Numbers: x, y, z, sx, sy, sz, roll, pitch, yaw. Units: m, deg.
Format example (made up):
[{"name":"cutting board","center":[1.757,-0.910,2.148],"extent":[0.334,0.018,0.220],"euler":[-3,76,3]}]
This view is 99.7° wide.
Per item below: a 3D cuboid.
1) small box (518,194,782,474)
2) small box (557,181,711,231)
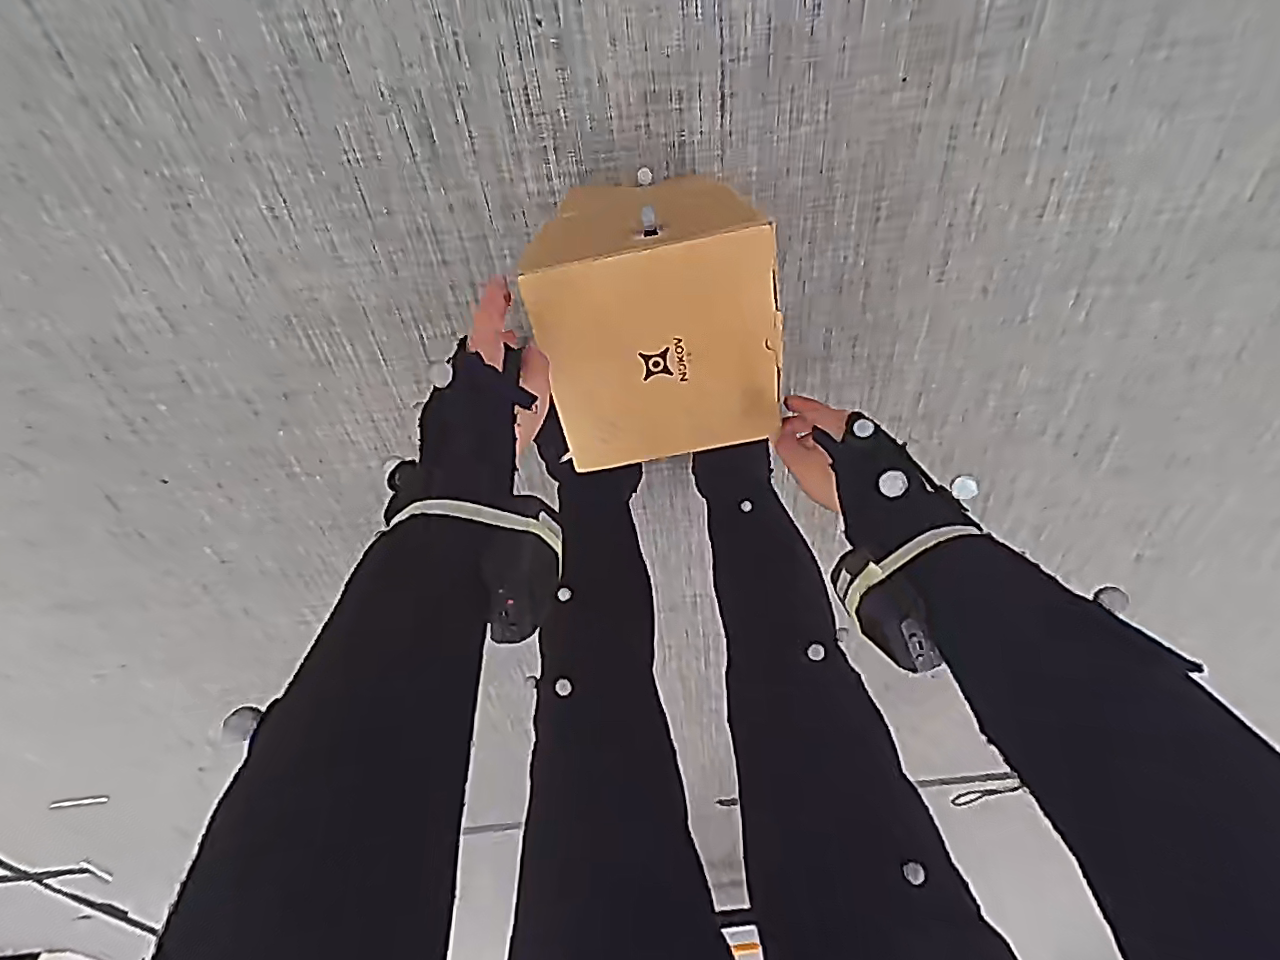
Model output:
[{"name":"small box","center":[0.012,-0.130,0.465],"extent":[0.179,0.176,0.168],"euler":[-11,126,3]},{"name":"small box","center":[0.006,-0.219,0.601],"extent":[0.168,0.176,0.179],"euler":[-5,125,-1]}]
